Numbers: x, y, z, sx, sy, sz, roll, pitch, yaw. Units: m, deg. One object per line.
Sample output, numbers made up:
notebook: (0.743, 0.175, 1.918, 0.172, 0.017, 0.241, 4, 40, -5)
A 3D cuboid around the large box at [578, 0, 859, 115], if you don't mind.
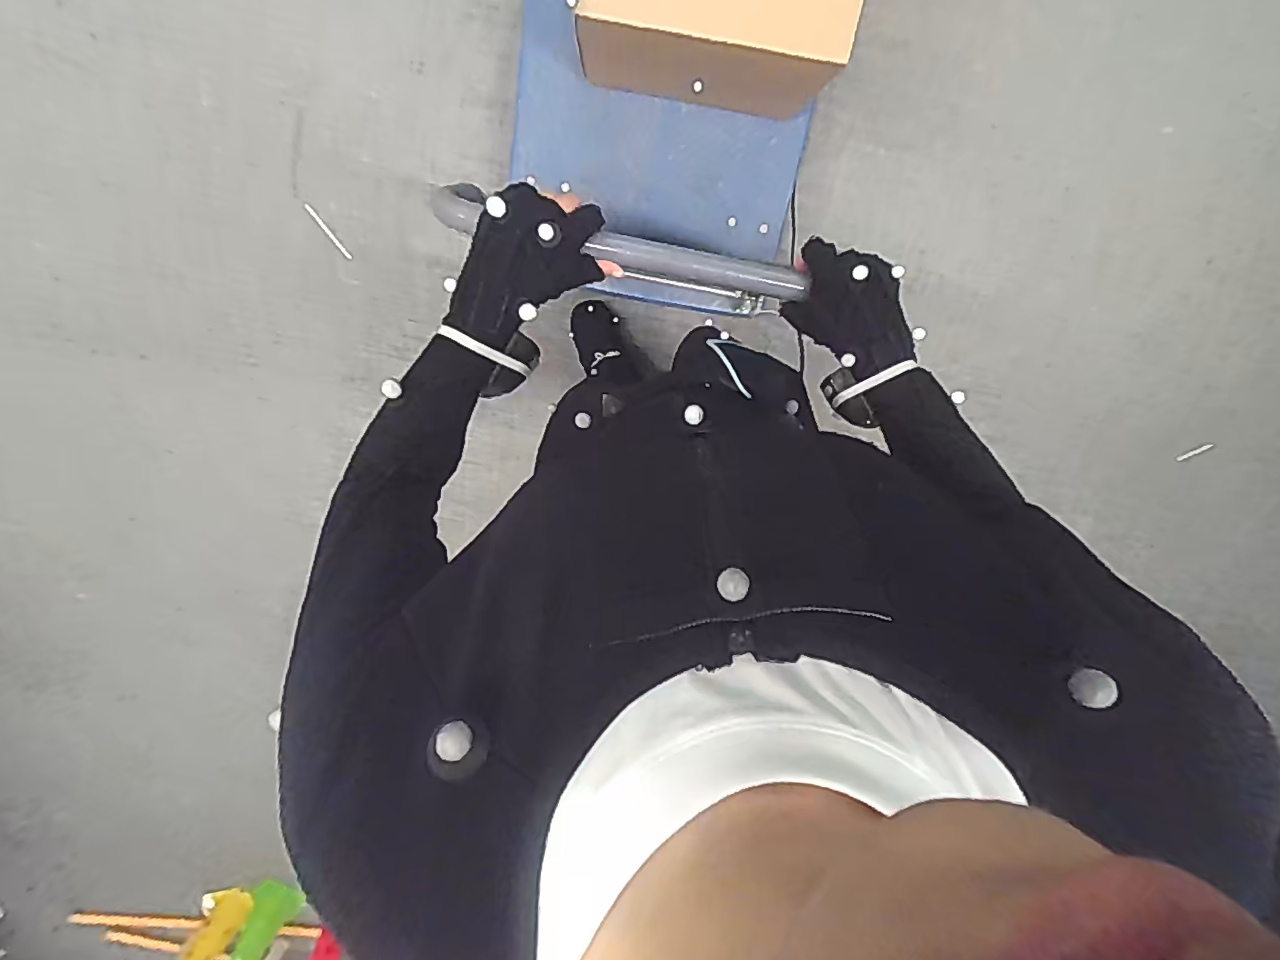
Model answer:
large box: (0.123, -0.830, 0.872, 0.408, 0.320, 0.320, 7, 110, -4)
